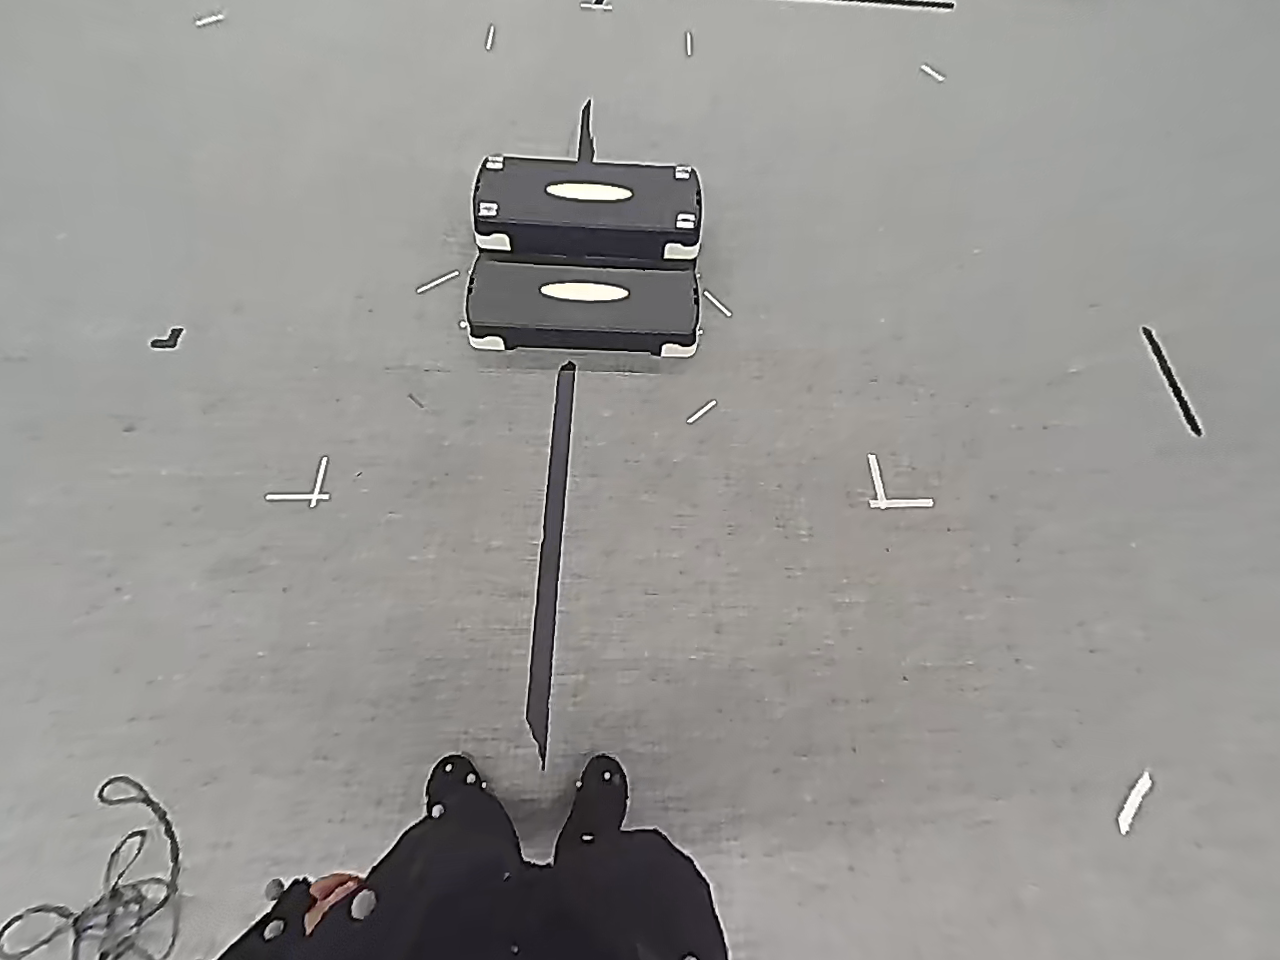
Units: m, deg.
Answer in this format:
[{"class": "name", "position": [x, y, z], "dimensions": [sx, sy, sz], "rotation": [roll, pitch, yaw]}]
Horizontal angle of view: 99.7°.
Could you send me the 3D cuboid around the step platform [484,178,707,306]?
[{"class": "step platform", "position": [-0.132, -0.745, 1.694], "dimensions": [0.684, 0.204, 0.286], "rotation": [6, 64, -1]}]
